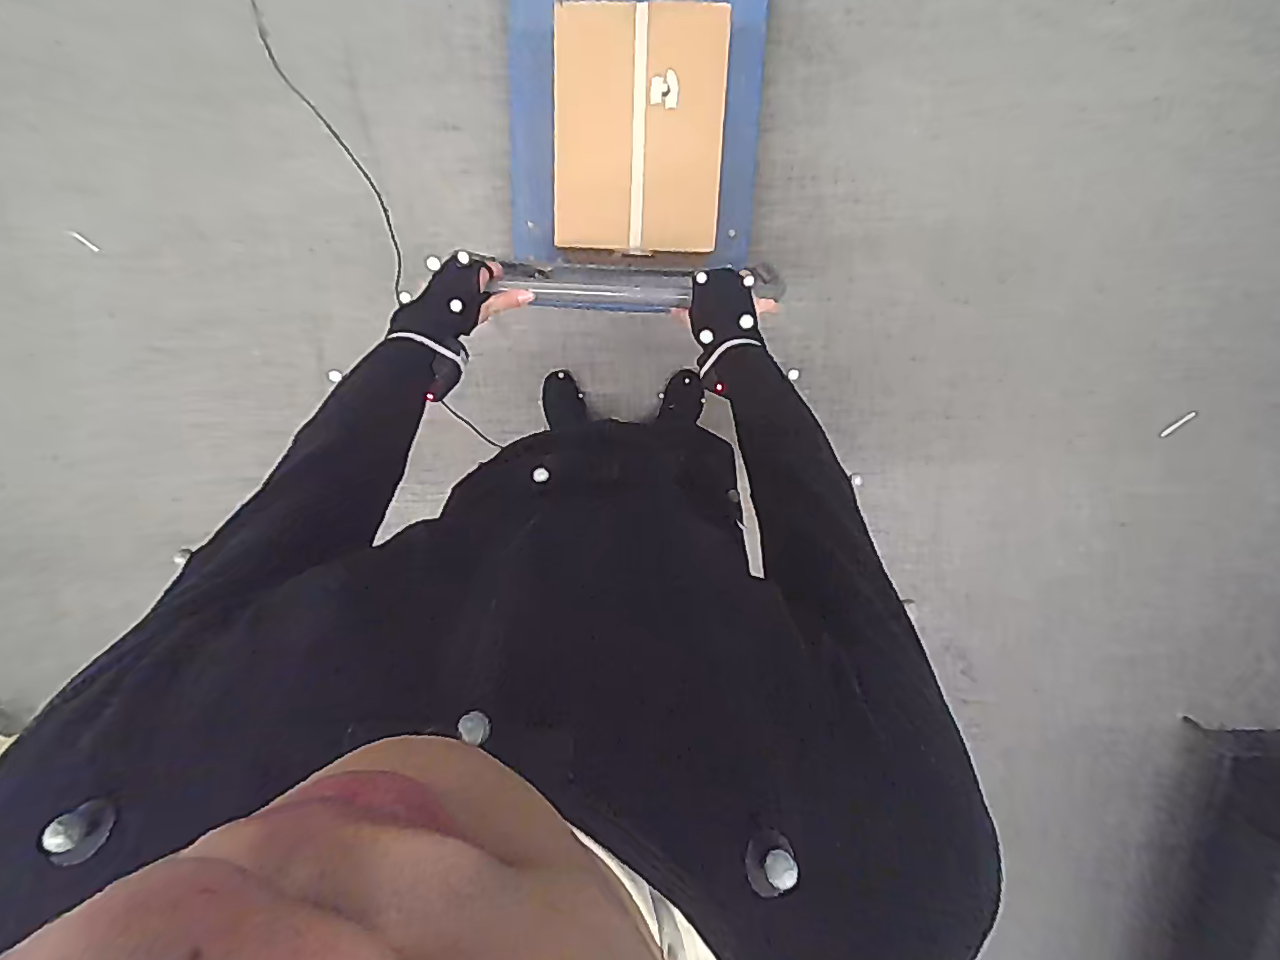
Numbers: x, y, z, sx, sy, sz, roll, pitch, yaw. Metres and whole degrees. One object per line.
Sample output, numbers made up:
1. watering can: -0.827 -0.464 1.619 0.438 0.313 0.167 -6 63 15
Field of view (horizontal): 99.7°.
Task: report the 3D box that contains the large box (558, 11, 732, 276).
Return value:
1. large box: 0.010 -0.658 1.135 0.320 0.320 0.408 3 104 1
